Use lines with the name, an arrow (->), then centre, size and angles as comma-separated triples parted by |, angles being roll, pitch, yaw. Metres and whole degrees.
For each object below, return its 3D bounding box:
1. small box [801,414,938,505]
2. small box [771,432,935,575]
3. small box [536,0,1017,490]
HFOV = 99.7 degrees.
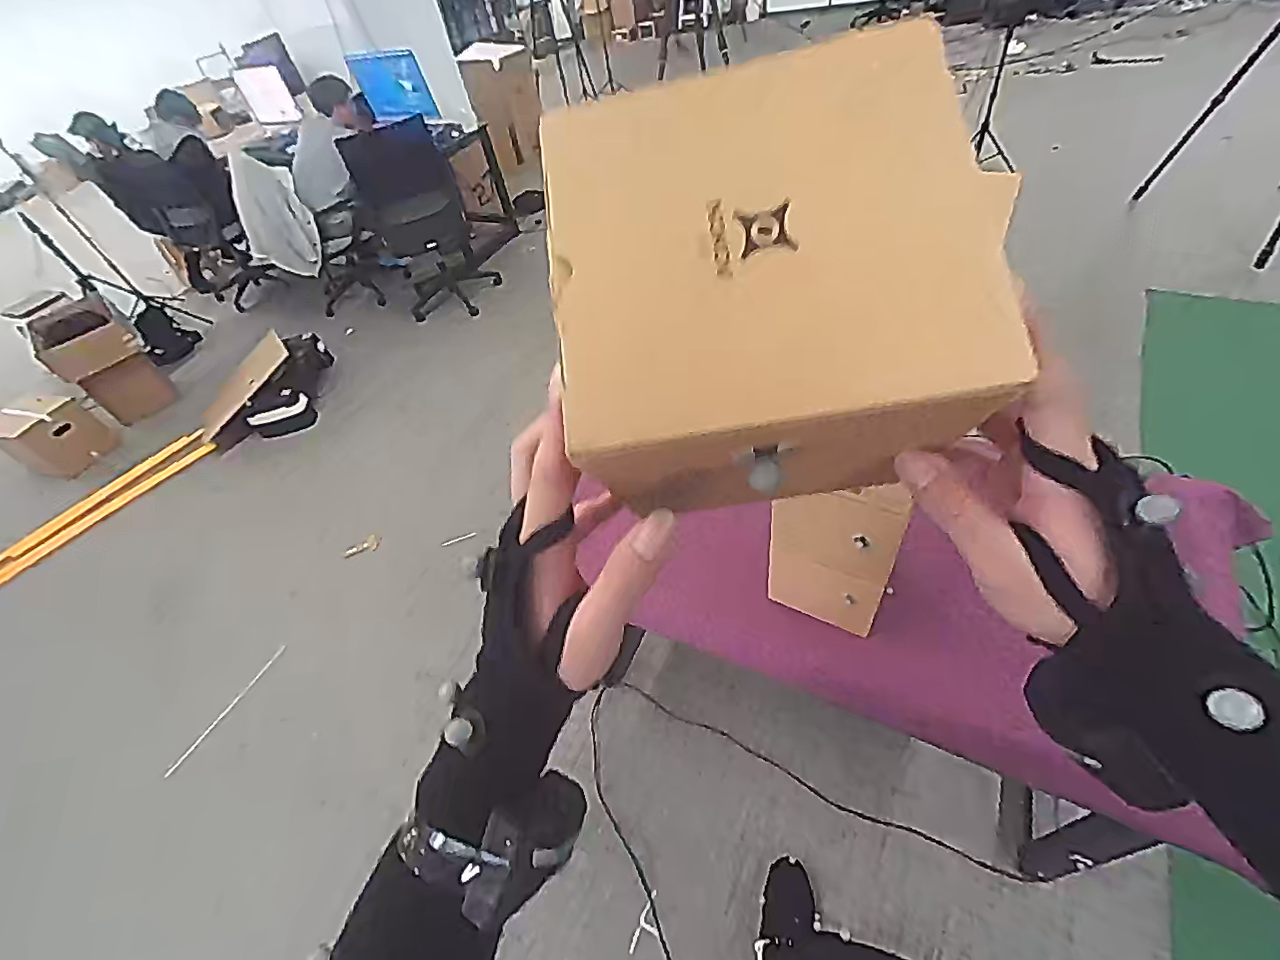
small box -> 0.286, -0.097, 0.690 | 0.168, 0.176, 0.179 | 20, 55, 26
small box -> 0.308, 0.016, 0.805 | 0.179, 0.176, 0.168 | 20, 55, 27
small box -> 0.058, -0.096, 0.299 | 0.179, 0.176, 0.168 | -8, 77, 10
